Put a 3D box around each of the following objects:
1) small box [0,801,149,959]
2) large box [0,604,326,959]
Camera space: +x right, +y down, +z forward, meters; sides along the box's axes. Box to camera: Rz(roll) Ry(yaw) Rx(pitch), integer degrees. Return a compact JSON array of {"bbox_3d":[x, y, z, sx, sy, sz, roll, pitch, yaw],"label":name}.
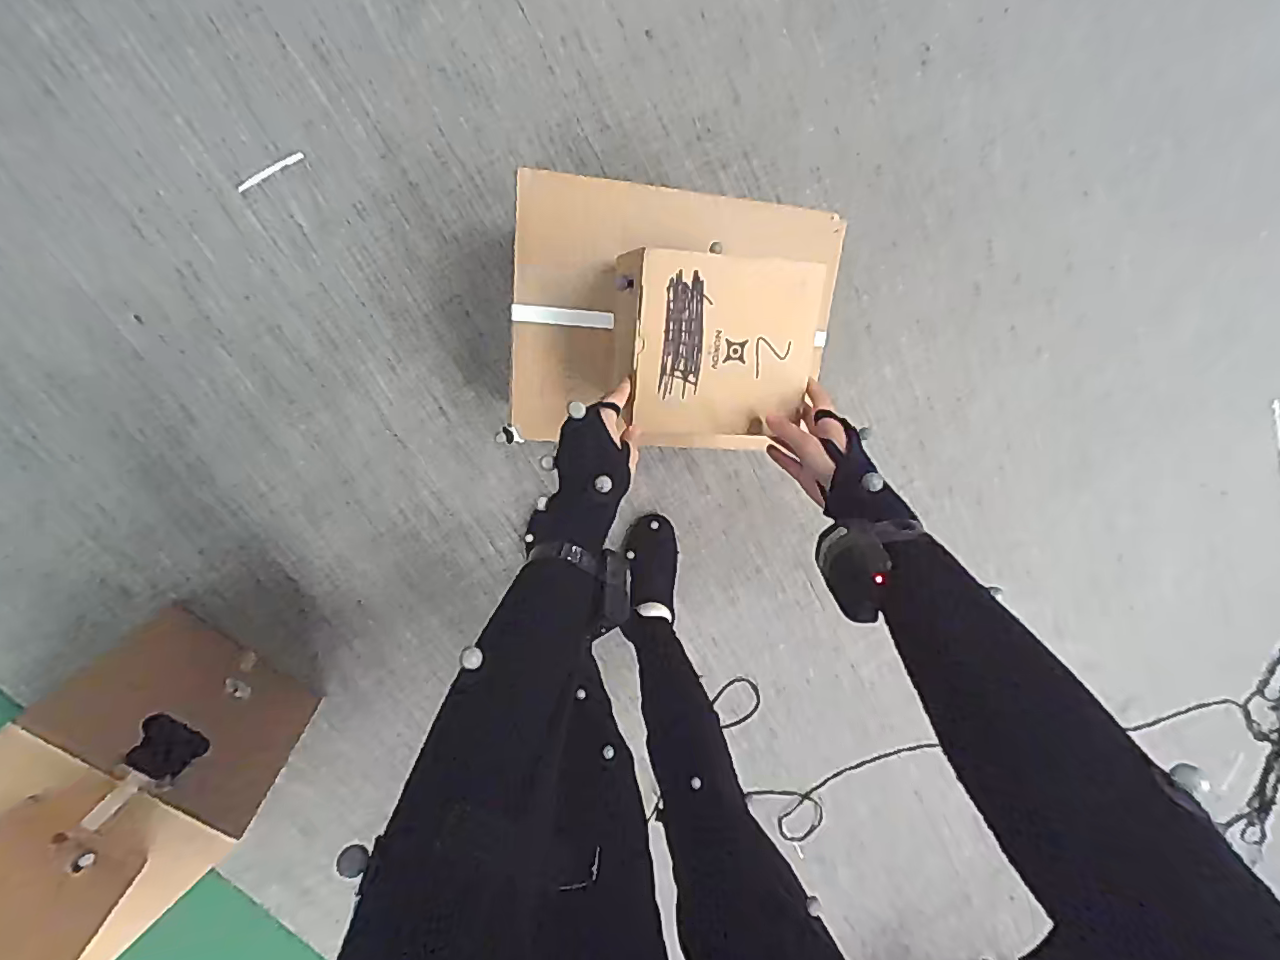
[{"bbox_3d":[-0.748,0.529,0.629,0.179,0.176,0.168,-41,109,2],"label":"small box"},{"bbox_3d":[-0.811,0.486,0.863,0.408,0.320,0.320,-44,107,4],"label":"large box"}]
